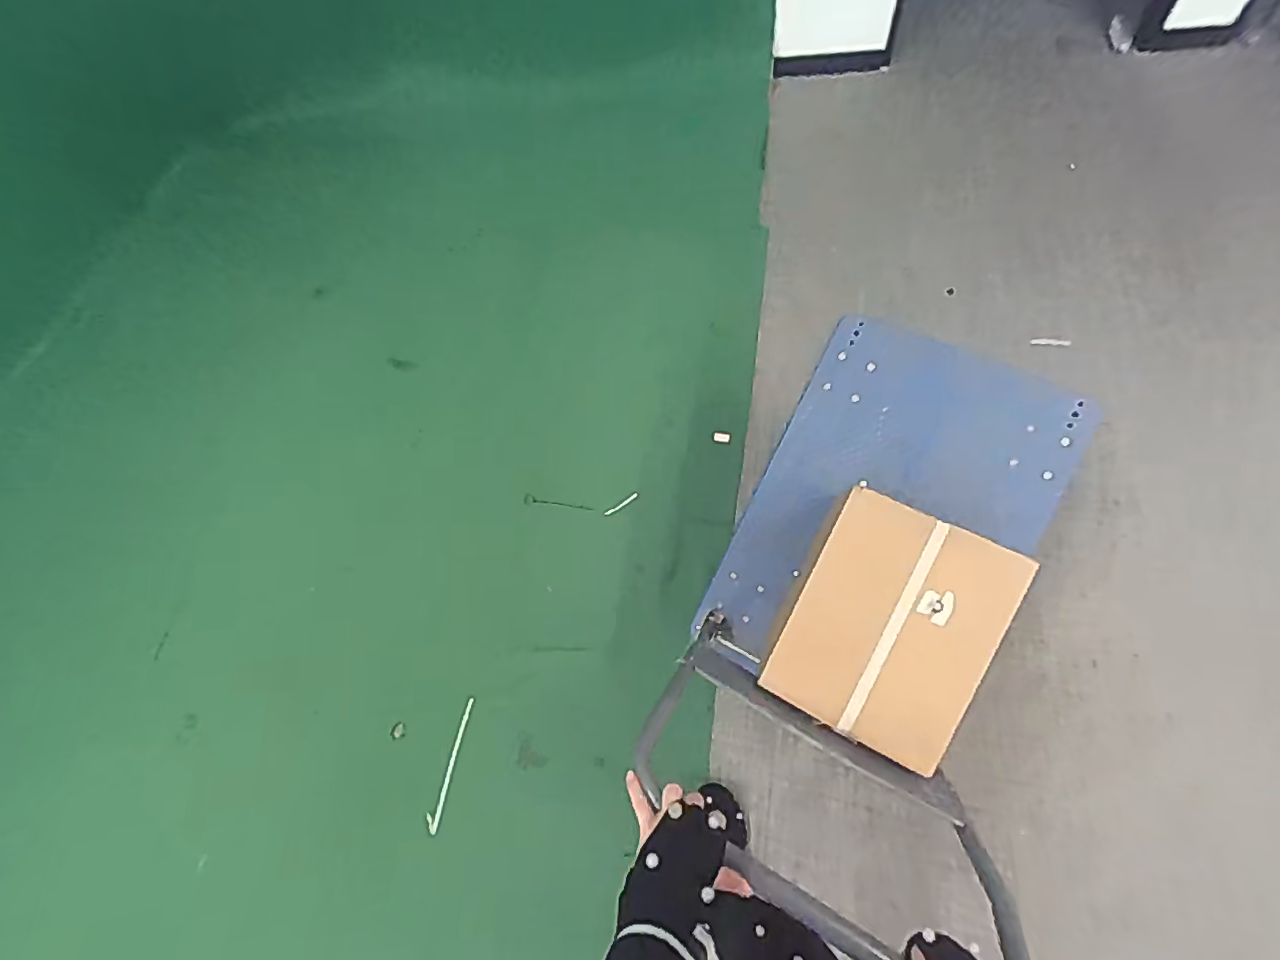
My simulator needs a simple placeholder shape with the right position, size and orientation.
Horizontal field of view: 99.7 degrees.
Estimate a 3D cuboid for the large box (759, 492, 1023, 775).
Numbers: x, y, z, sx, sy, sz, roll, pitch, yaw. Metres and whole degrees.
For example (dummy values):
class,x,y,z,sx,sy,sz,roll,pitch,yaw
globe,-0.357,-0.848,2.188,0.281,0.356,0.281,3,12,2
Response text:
class,x,y,z,sx,sy,sz,roll,pitch,yaw
large box,0.468,0.277,1.092,0.320,0.320,0.408,26,92,15
